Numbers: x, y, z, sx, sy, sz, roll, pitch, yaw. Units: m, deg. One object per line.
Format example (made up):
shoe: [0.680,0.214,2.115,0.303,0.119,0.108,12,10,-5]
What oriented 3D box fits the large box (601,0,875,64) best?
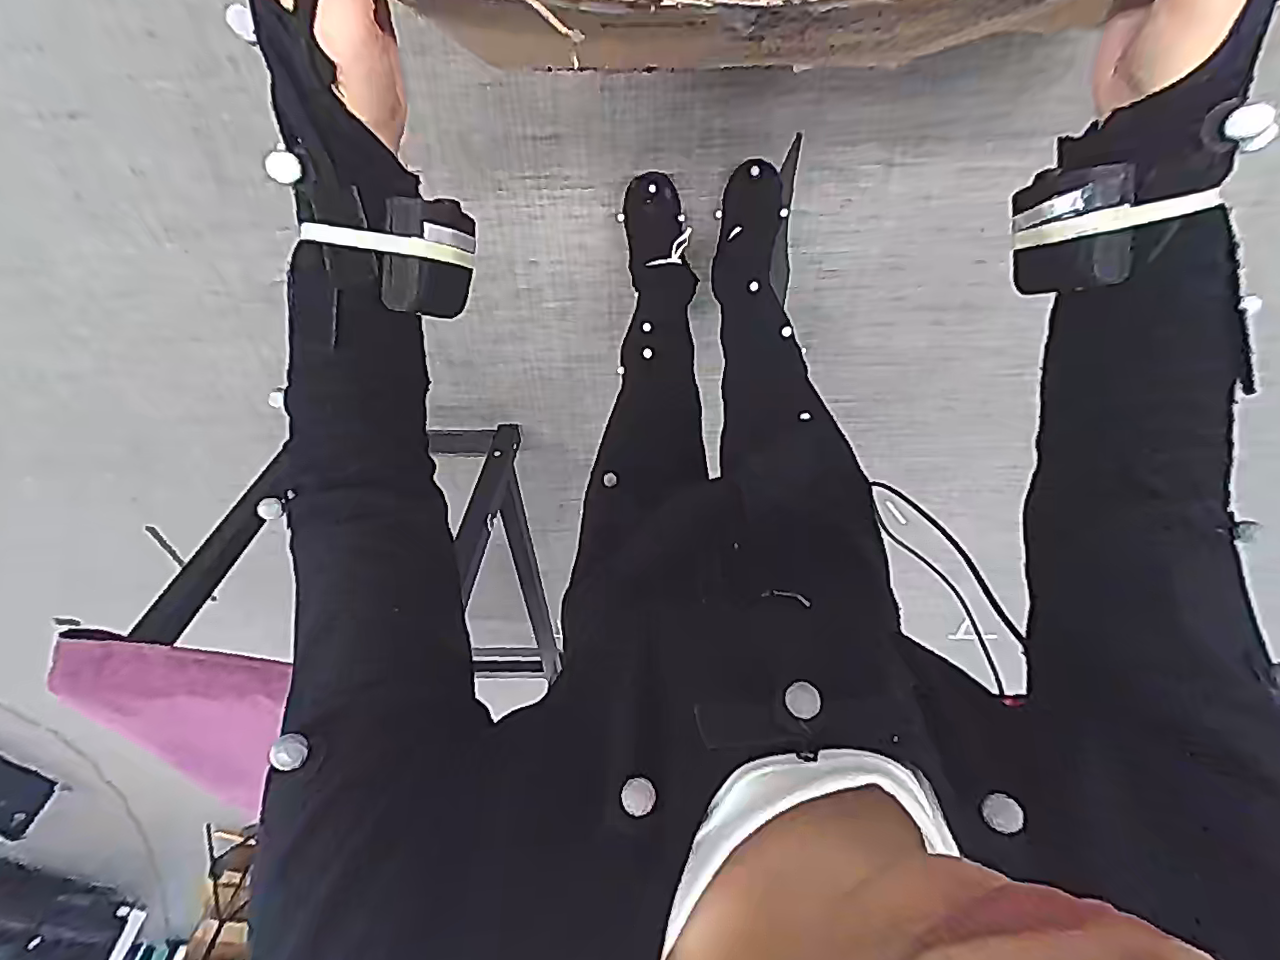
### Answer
large box: [0.103,-0.751,0.612,0.320,0.320,0.408,-1,133,4]
